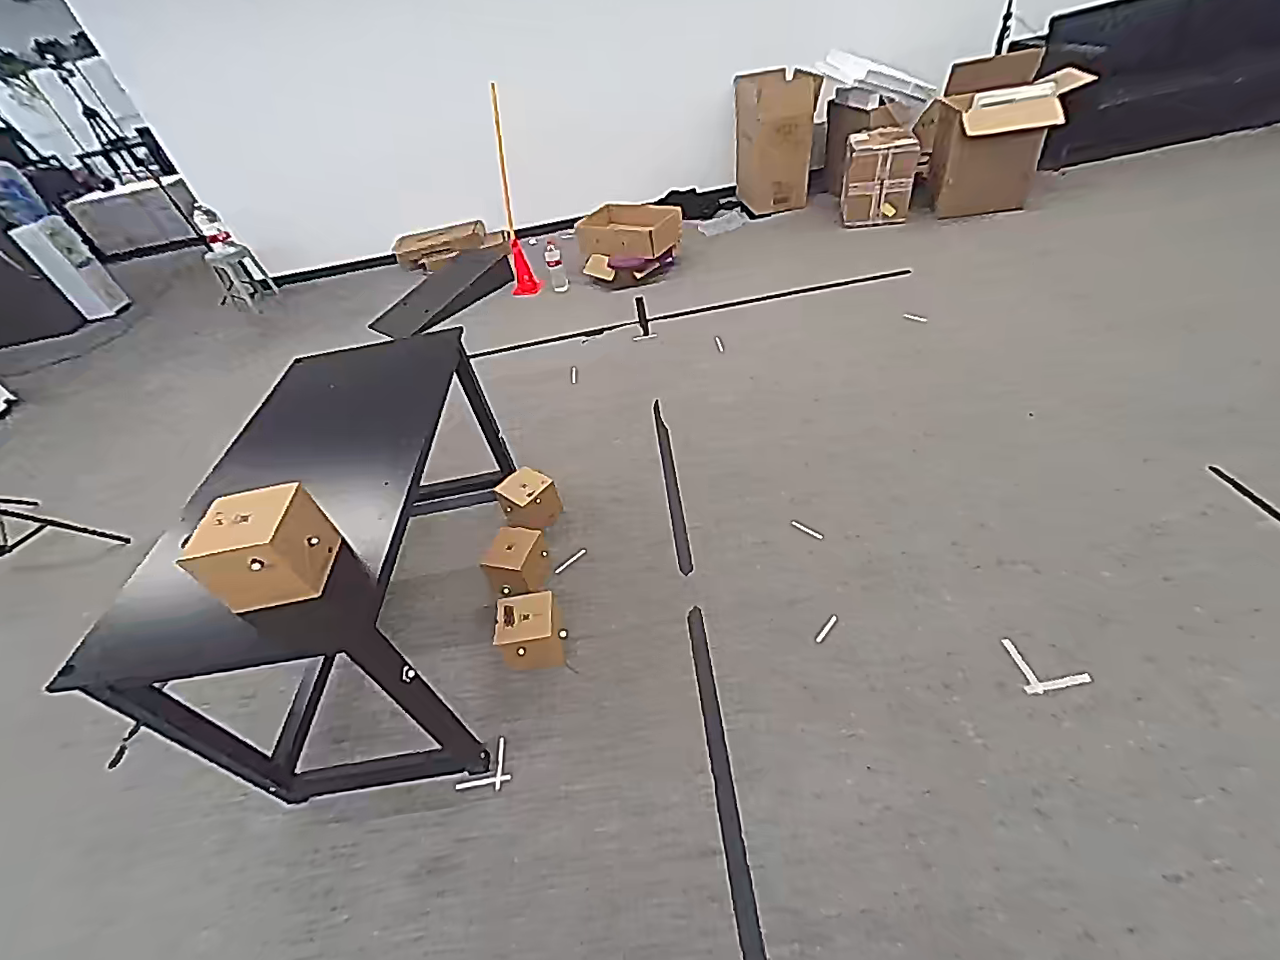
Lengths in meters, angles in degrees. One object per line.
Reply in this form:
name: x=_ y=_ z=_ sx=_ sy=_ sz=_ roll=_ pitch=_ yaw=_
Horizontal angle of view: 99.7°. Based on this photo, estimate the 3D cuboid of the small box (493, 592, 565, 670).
small box: x=-0.343 y=0.479 z=1.699 sx=0.179 sy=0.176 sz=0.168 roll=-10 pitch=43 yaw=1

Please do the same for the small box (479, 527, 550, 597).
small box: x=-0.435 y=0.293 z=1.918 sx=0.168 sy=0.176 sz=0.179 roll=4 pitch=46 yaw=18

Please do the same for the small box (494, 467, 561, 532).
small box: x=-0.440 y=0.083 z=2.137 sx=0.179 sy=0.176 sz=0.168 roll=24 pitch=54 yaw=32

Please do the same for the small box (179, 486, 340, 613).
small box: x=-0.736 y=0.139 z=1.073 sx=0.179 sy=0.176 sz=0.168 roll=-12 pitch=42 yaw=1
